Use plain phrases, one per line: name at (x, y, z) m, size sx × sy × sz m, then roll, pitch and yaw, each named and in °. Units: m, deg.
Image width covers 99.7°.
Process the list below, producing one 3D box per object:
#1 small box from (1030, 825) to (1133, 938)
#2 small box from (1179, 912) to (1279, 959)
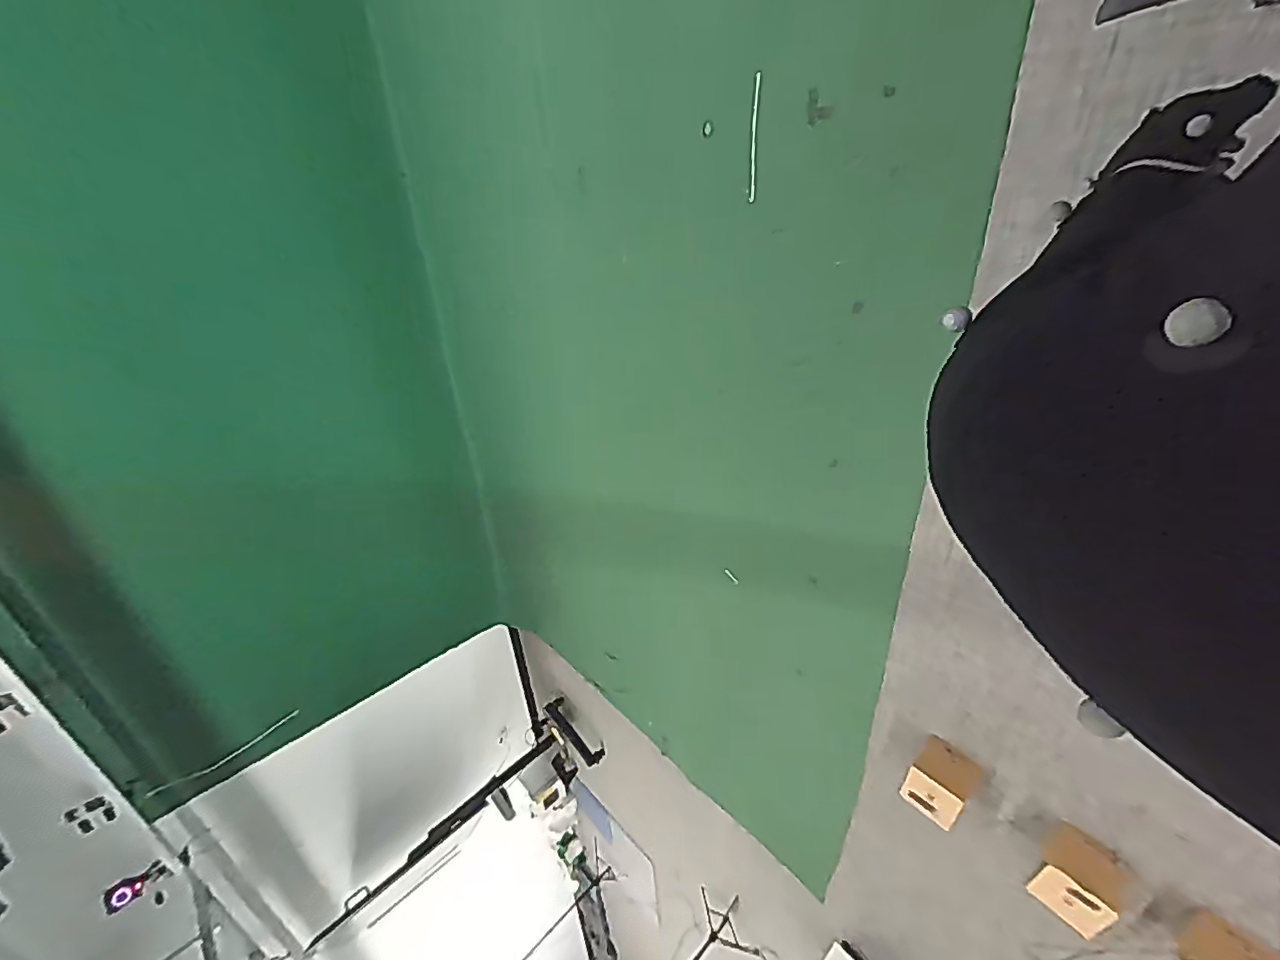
small box at (1.275, 1.149, 1.559) m, size 0.168 × 0.176 × 0.179 m, roll 33°, pitch 135°, yaw 38°
small box at (1.488, 1.248, 1.349) m, size 0.168 × 0.176 × 0.179 m, roll 26°, pitch 130°, yaw 41°
